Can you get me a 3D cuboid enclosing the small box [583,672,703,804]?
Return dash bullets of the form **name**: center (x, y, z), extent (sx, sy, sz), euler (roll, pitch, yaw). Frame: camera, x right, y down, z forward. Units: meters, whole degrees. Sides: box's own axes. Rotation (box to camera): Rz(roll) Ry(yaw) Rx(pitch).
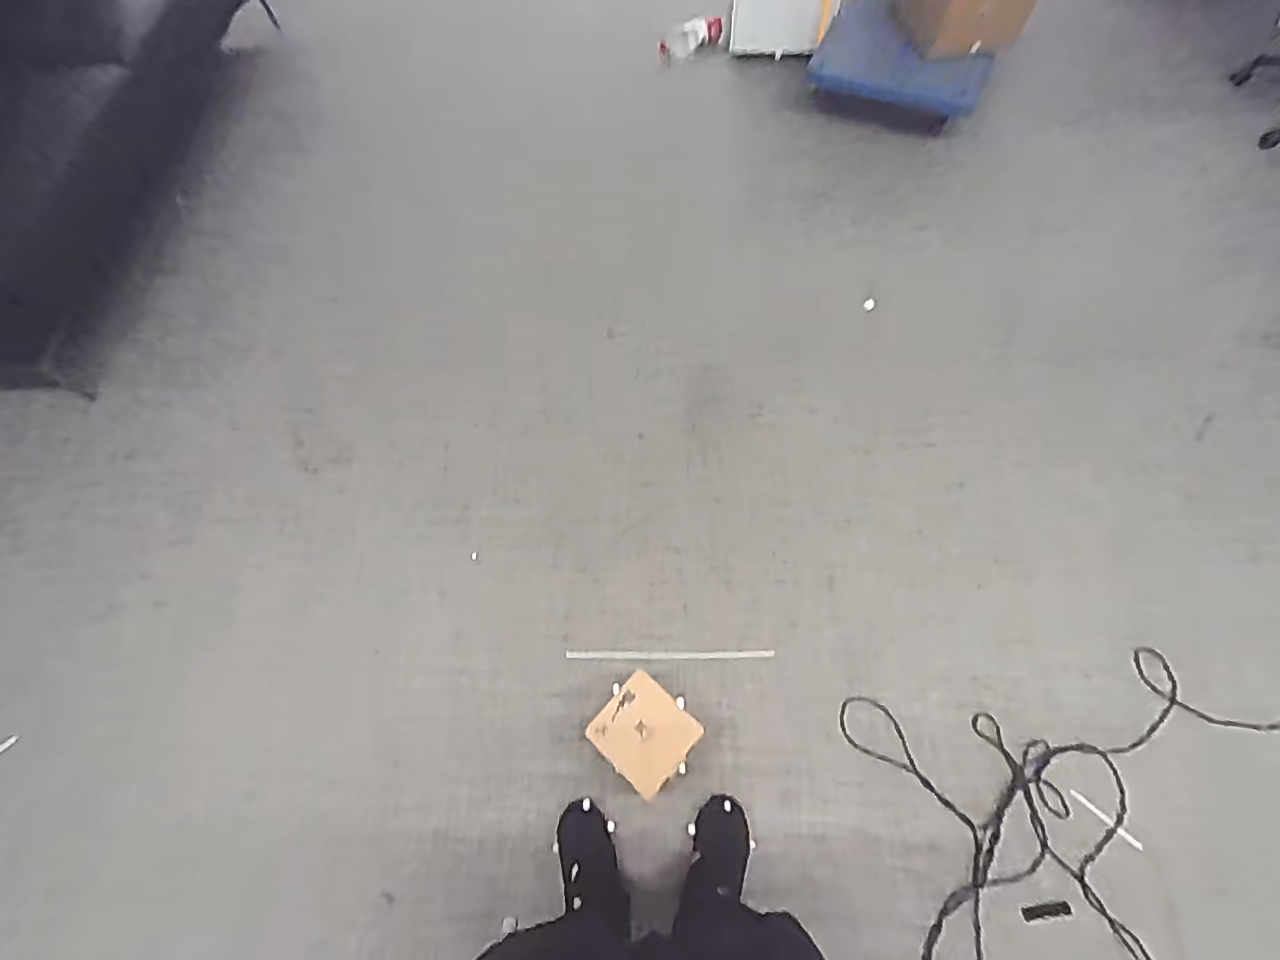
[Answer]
- **small box**: center (0.010, 0.521, 1.108), extent (0.179, 0.176, 0.168), euler (39, 73, 19)
